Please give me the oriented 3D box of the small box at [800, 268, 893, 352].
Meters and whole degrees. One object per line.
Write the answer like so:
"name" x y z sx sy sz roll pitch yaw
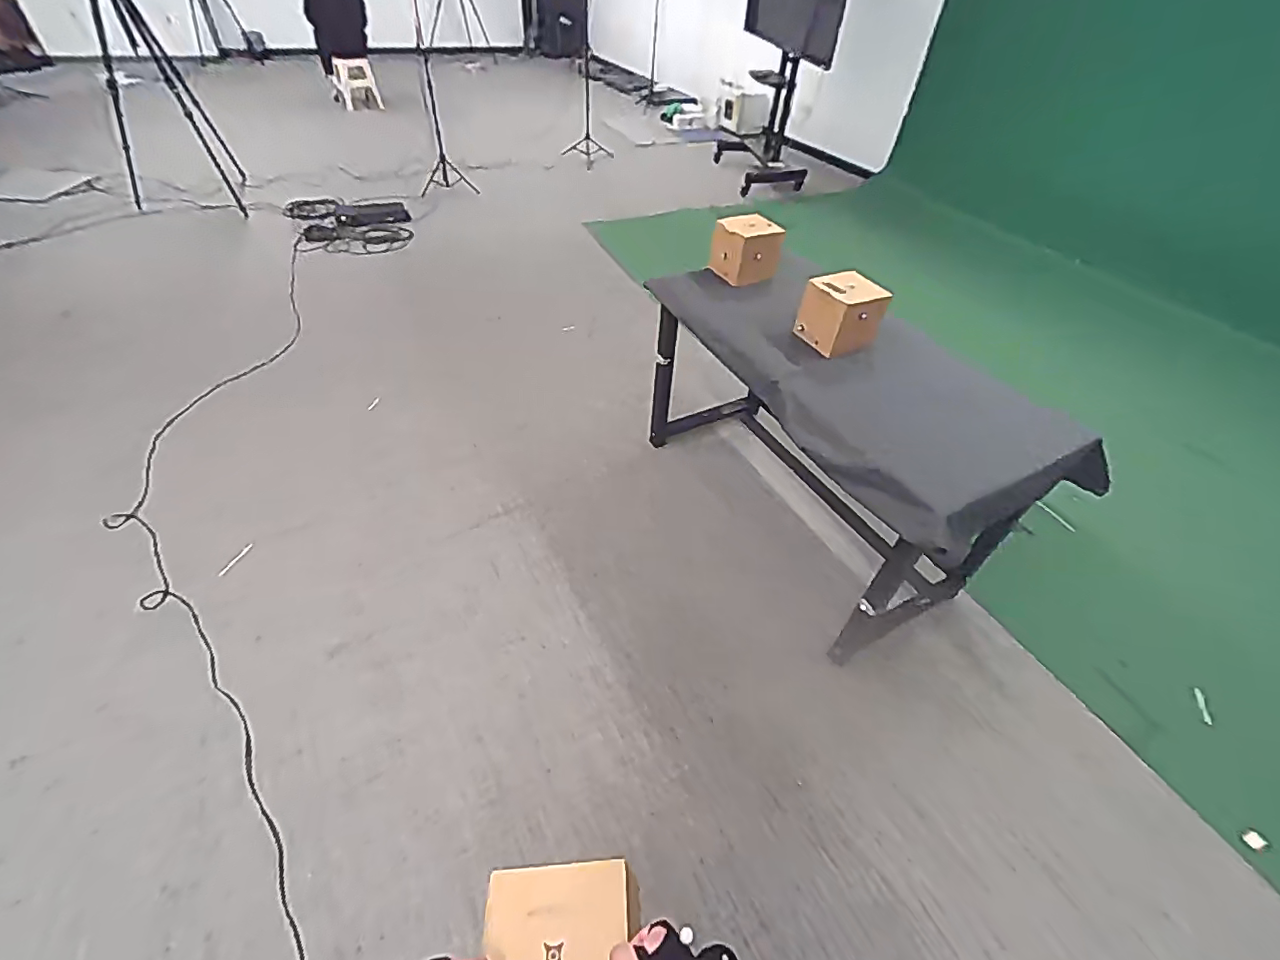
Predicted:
"small box" 0.589 -0.492 1.576 0.179 0.176 0.168 -18 50 -21

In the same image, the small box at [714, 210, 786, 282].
"small box" 0.368 -0.802 1.859 0.179 0.176 0.168 -20 52 -21
